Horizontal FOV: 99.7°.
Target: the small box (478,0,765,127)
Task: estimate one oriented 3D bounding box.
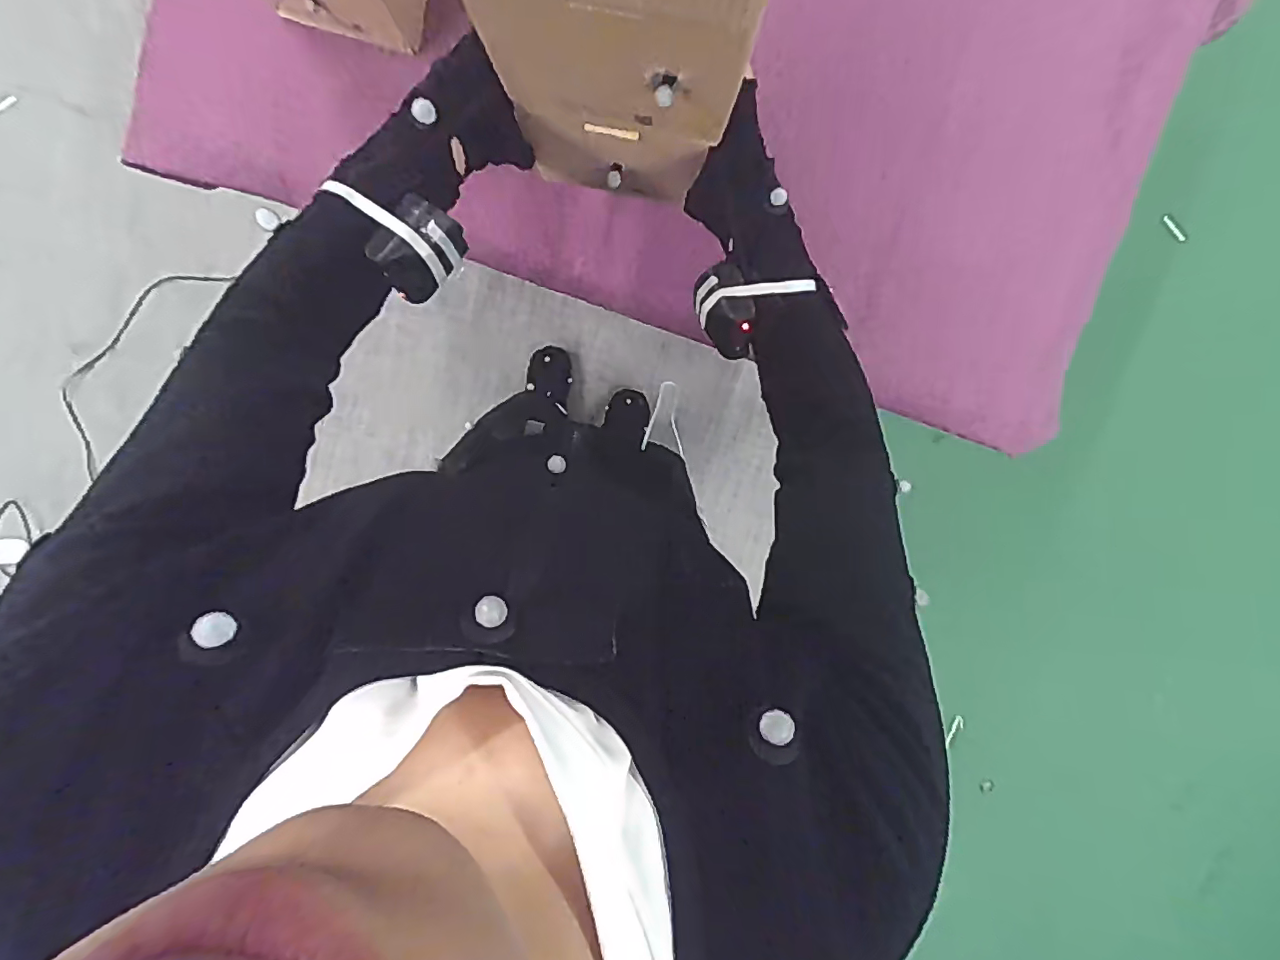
[{"bbox_3d":[0.000,-0.344,0.317,0.168,0.176,0.179,9,102,-3],"label":"small box"}]

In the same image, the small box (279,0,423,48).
[{"bbox_3d":[-0.321,-0.598,0.545,0.168,0.176,0.179,13,100,-5],"label":"small box"}]

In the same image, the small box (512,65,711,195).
[{"bbox_3d":[-0.010,-0.383,0.494,0.168,0.176,0.179,7,101,-1],"label":"small box"}]
